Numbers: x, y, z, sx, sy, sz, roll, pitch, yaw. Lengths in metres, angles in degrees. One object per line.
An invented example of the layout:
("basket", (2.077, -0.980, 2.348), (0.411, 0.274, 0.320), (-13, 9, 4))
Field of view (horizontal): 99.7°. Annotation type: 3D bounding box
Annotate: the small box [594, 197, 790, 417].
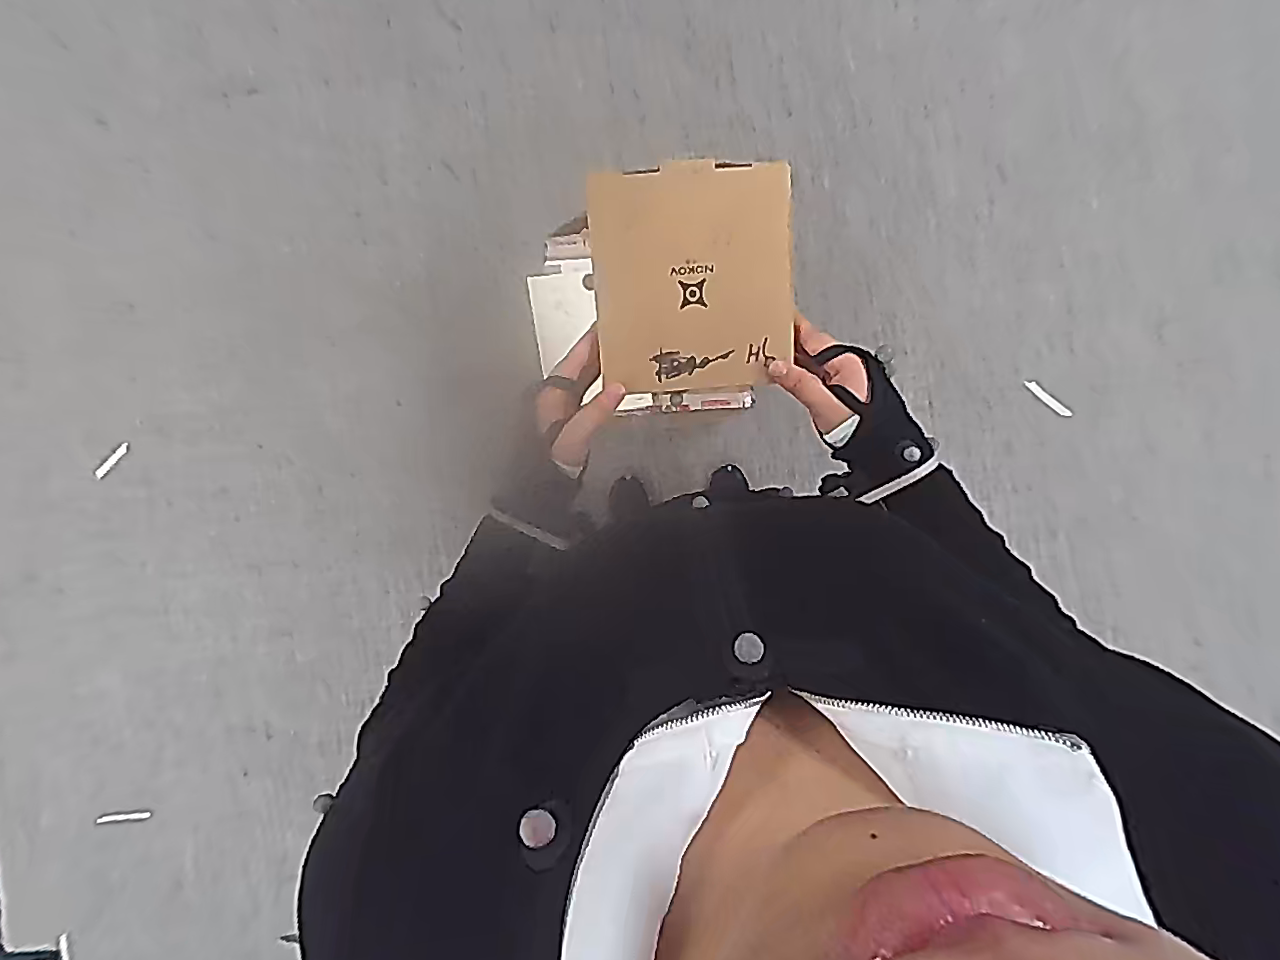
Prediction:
("small box", (0.043, -0.160, 0.543), (0.168, 0.176, 0.179), (-5, 101, -1))
